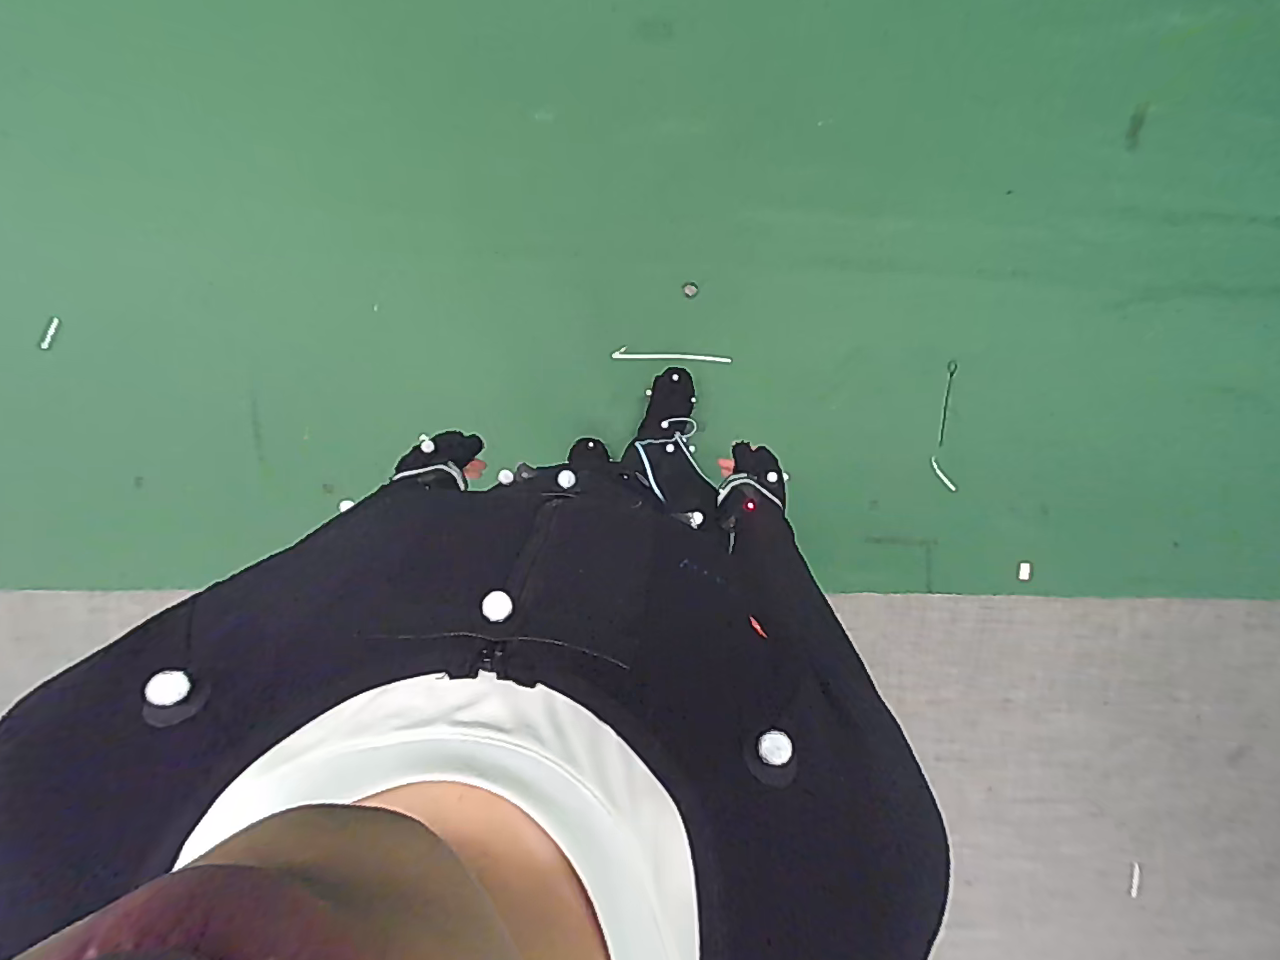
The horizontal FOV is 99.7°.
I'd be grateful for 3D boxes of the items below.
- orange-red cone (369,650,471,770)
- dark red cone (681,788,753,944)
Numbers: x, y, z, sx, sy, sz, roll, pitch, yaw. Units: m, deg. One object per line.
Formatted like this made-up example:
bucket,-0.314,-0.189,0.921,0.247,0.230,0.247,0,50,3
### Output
orange-red cone,-0.572,0.596,1.347,0.198,0.360,0.199,2,97,-1
dark red cone,0.226,0.994,1.386,0.202,0.394,0.201,-4,94,-1
